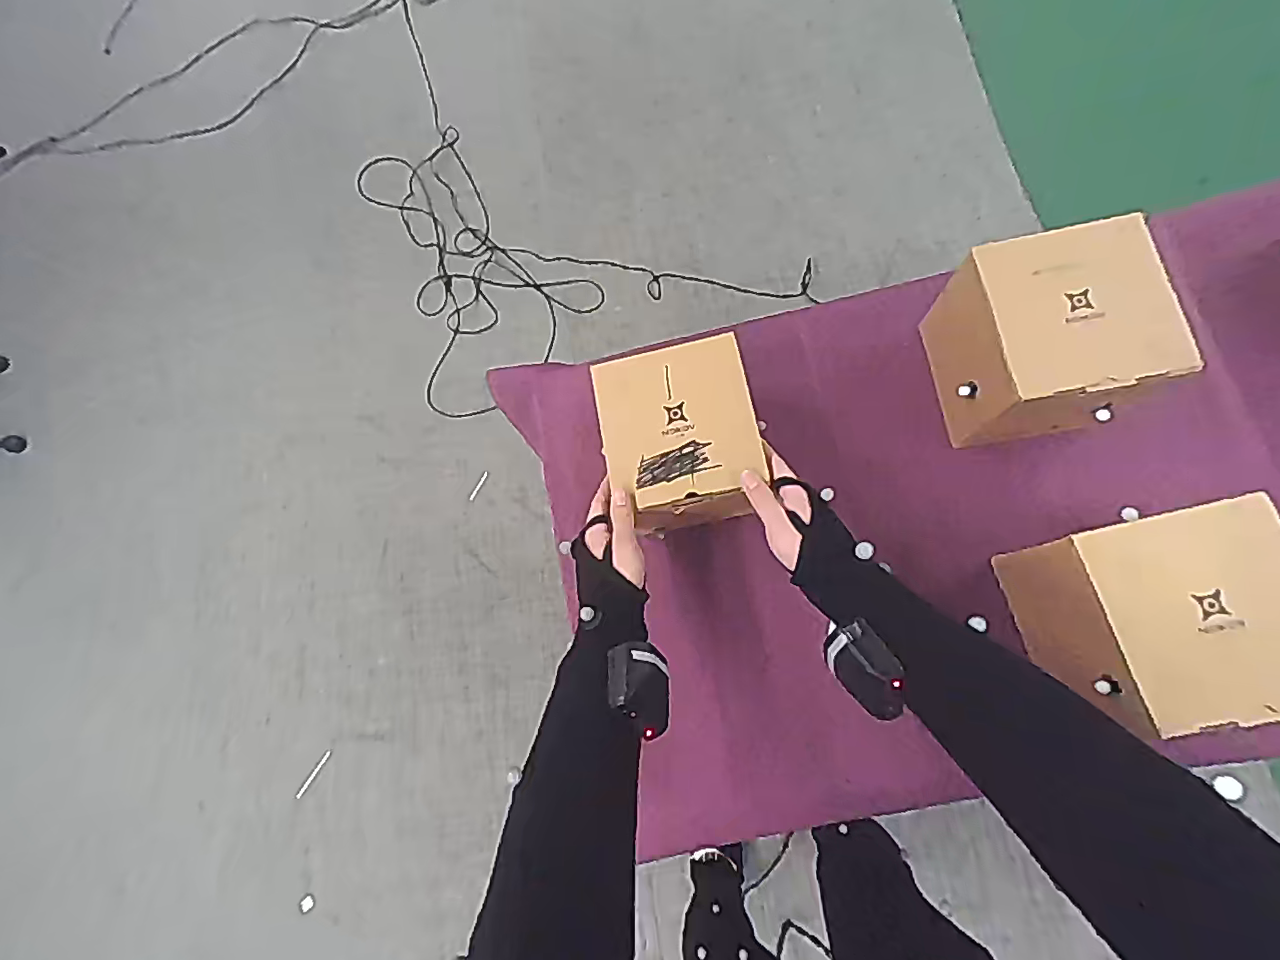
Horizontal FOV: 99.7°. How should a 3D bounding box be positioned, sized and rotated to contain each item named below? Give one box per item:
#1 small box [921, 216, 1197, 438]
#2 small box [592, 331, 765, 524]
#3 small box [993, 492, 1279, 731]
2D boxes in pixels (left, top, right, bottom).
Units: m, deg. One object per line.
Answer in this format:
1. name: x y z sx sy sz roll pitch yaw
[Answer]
1. small box: 0.447 -0.155 0.613 0.168 0.176 0.179 -9 76 7
2. small box: 0.051 -0.048 0.655 0.168 0.176 0.179 -12 75 6
3. small box: 0.495 0.128 0.538 0.168 0.176 0.179 -14 75 6
